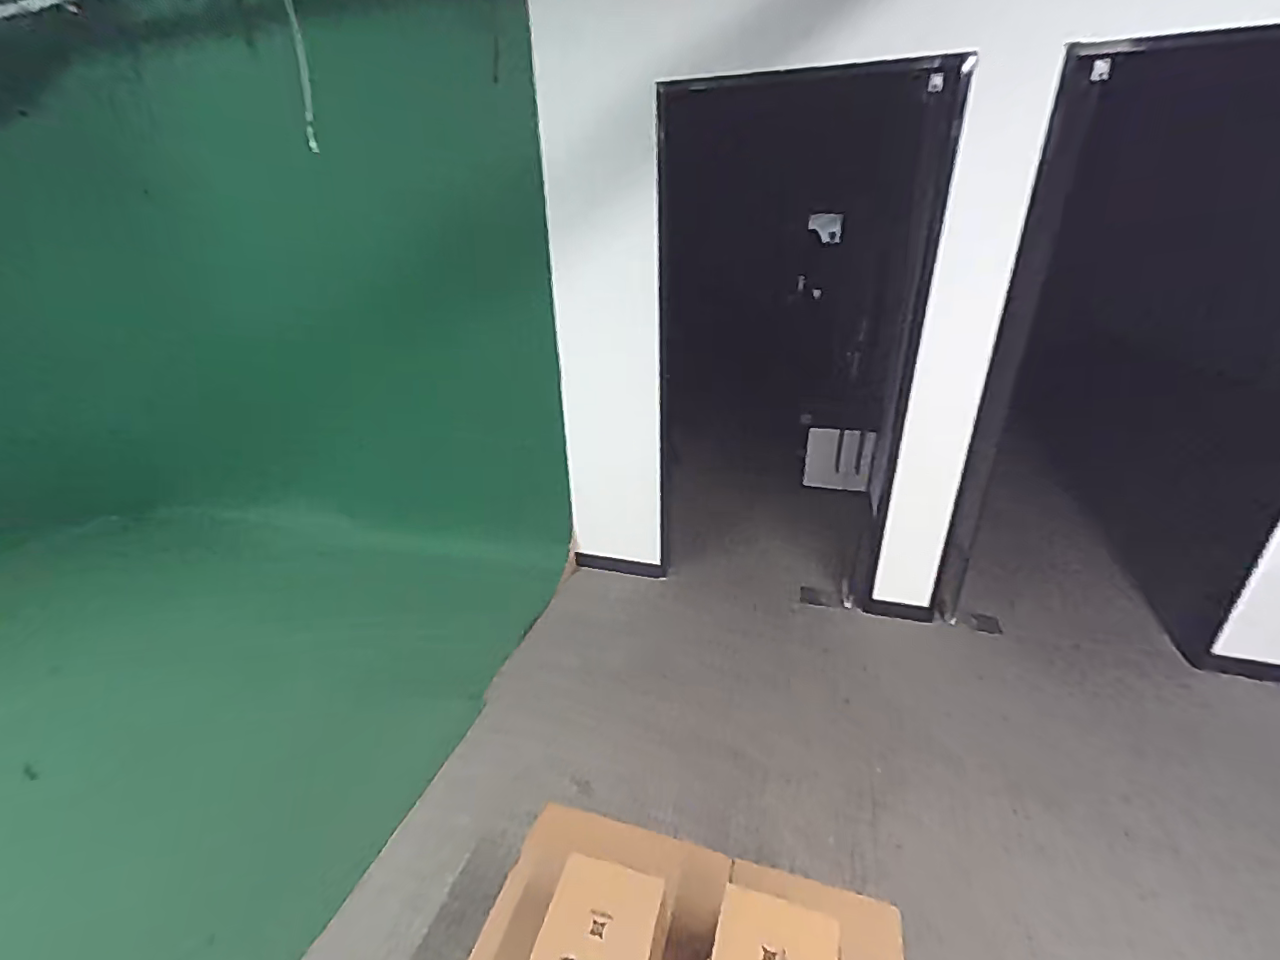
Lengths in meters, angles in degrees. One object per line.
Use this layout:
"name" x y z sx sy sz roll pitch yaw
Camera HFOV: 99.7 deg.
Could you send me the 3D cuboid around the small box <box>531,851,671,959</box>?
"small box" -0.052 0.733 0.837 0.168 0.176 0.179 4 23 16
